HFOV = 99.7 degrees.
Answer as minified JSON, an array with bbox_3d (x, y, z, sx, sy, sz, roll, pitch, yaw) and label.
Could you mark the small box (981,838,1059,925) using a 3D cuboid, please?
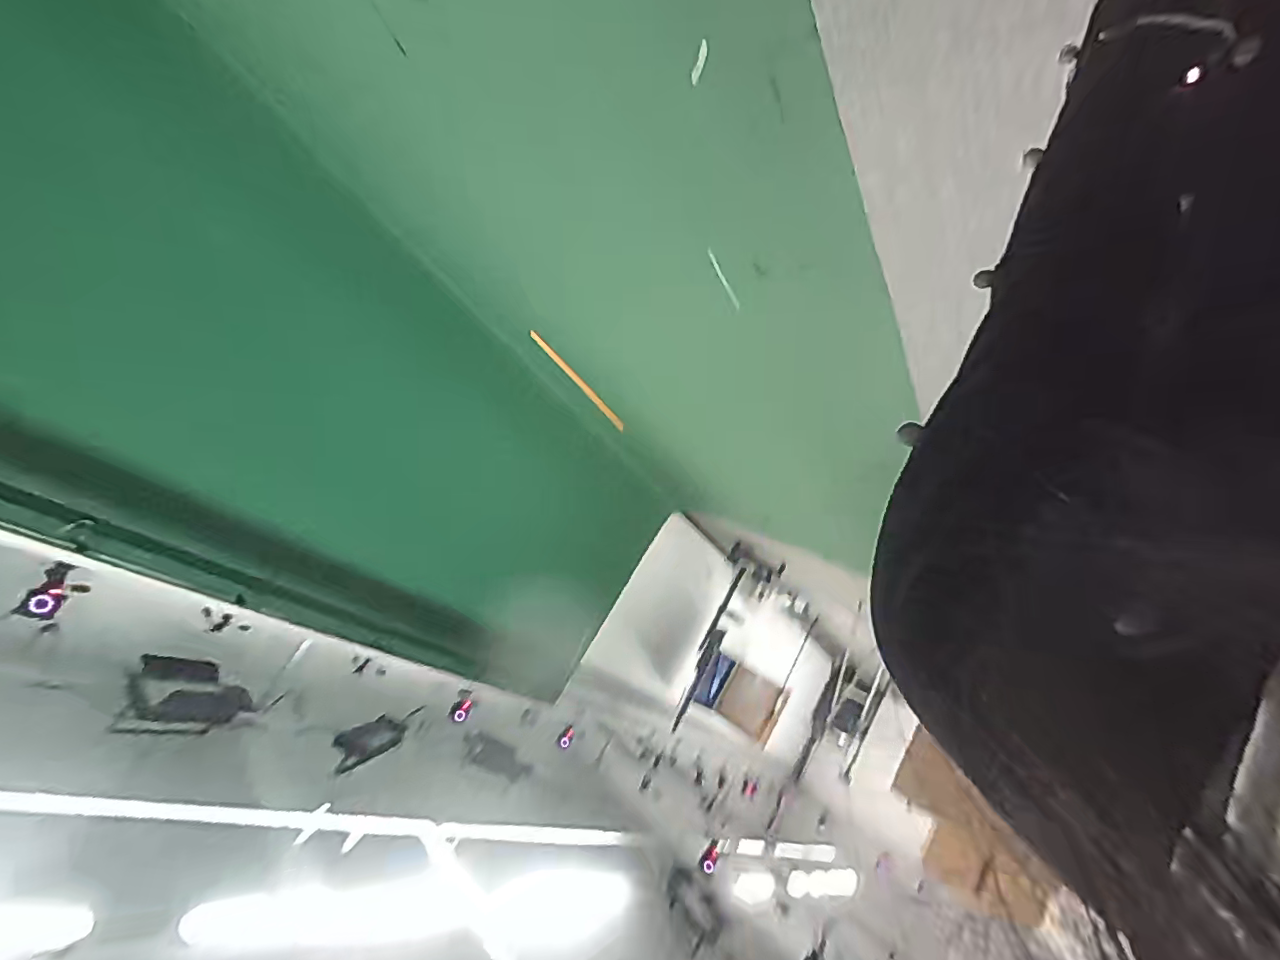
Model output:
[{"bbox_3d":[1.315,1.379,1.873,0.168,0.176,0.179,23,164,33],"label":"small box"}]
